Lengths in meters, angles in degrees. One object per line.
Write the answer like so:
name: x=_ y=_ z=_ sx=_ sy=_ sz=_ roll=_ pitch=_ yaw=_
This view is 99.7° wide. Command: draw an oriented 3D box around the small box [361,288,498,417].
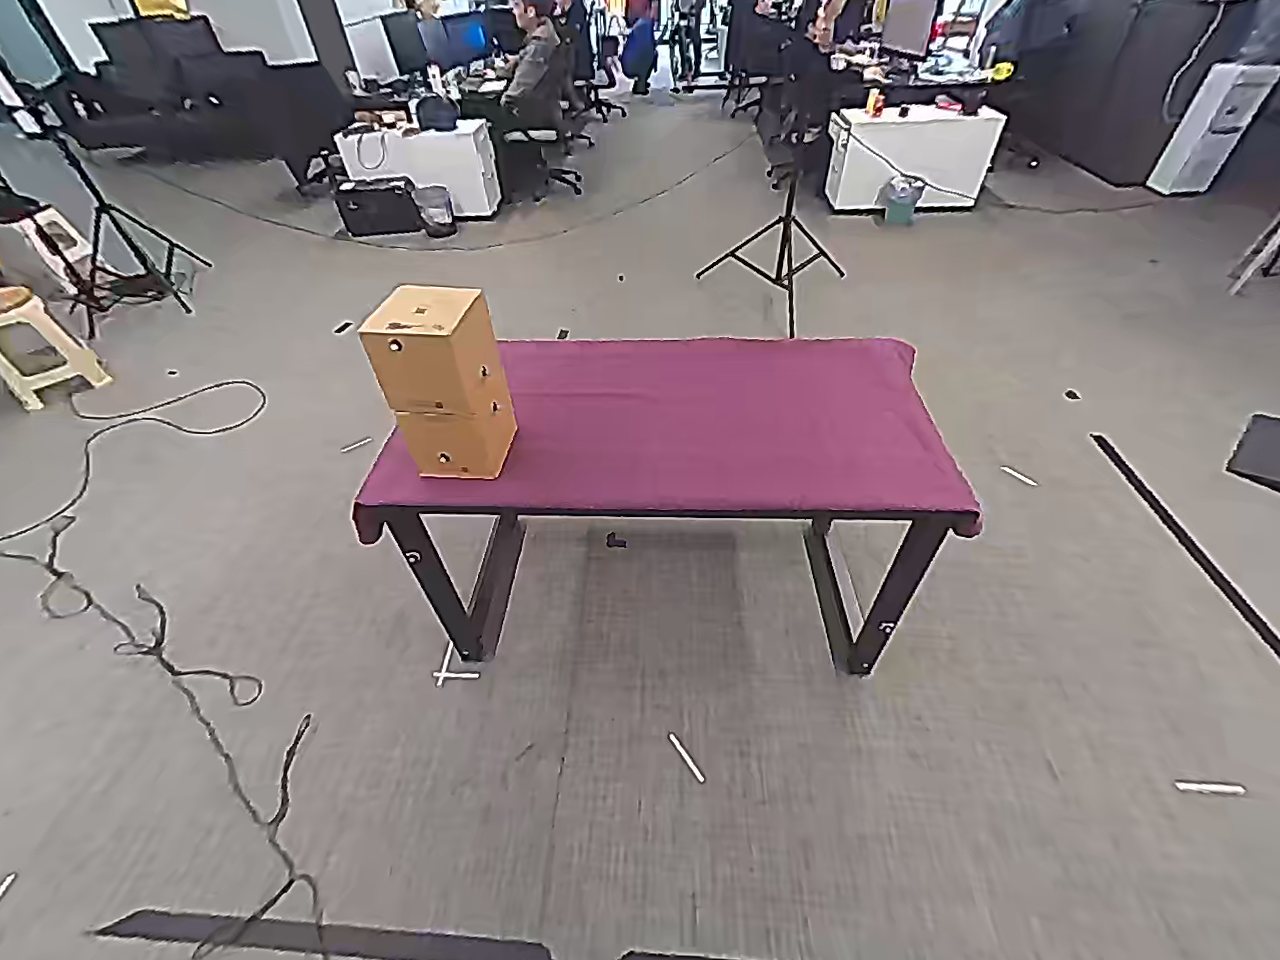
small box: x=-0.378 y=-0.240 z=1.014 sx=0.168 sy=0.176 sz=0.179 roll=4 pitch=44 yaw=6

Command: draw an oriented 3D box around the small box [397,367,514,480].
small box: x=-0.370 y=-0.122 z=1.127 sx=0.168 sy=0.176 sz=0.179 roll=2 pitch=44 yaw=5
